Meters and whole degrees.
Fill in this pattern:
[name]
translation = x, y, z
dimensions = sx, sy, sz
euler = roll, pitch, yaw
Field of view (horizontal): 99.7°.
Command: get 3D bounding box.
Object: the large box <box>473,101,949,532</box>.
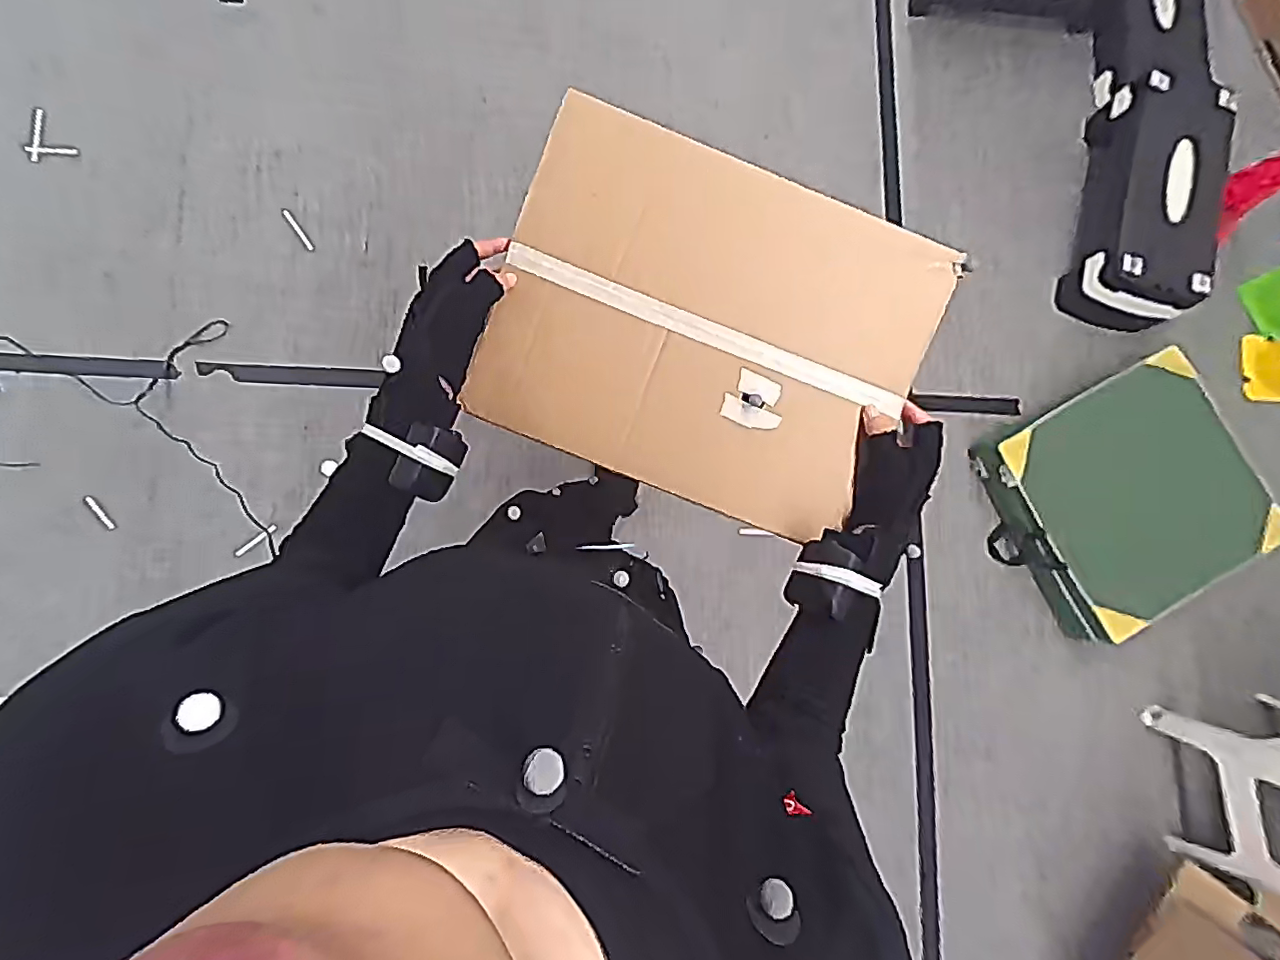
[large box]
translation = 0.065, -0.169, 0.684
dimensions = 0.408, 0.320, 0.320
euler = 21, 96, -3
